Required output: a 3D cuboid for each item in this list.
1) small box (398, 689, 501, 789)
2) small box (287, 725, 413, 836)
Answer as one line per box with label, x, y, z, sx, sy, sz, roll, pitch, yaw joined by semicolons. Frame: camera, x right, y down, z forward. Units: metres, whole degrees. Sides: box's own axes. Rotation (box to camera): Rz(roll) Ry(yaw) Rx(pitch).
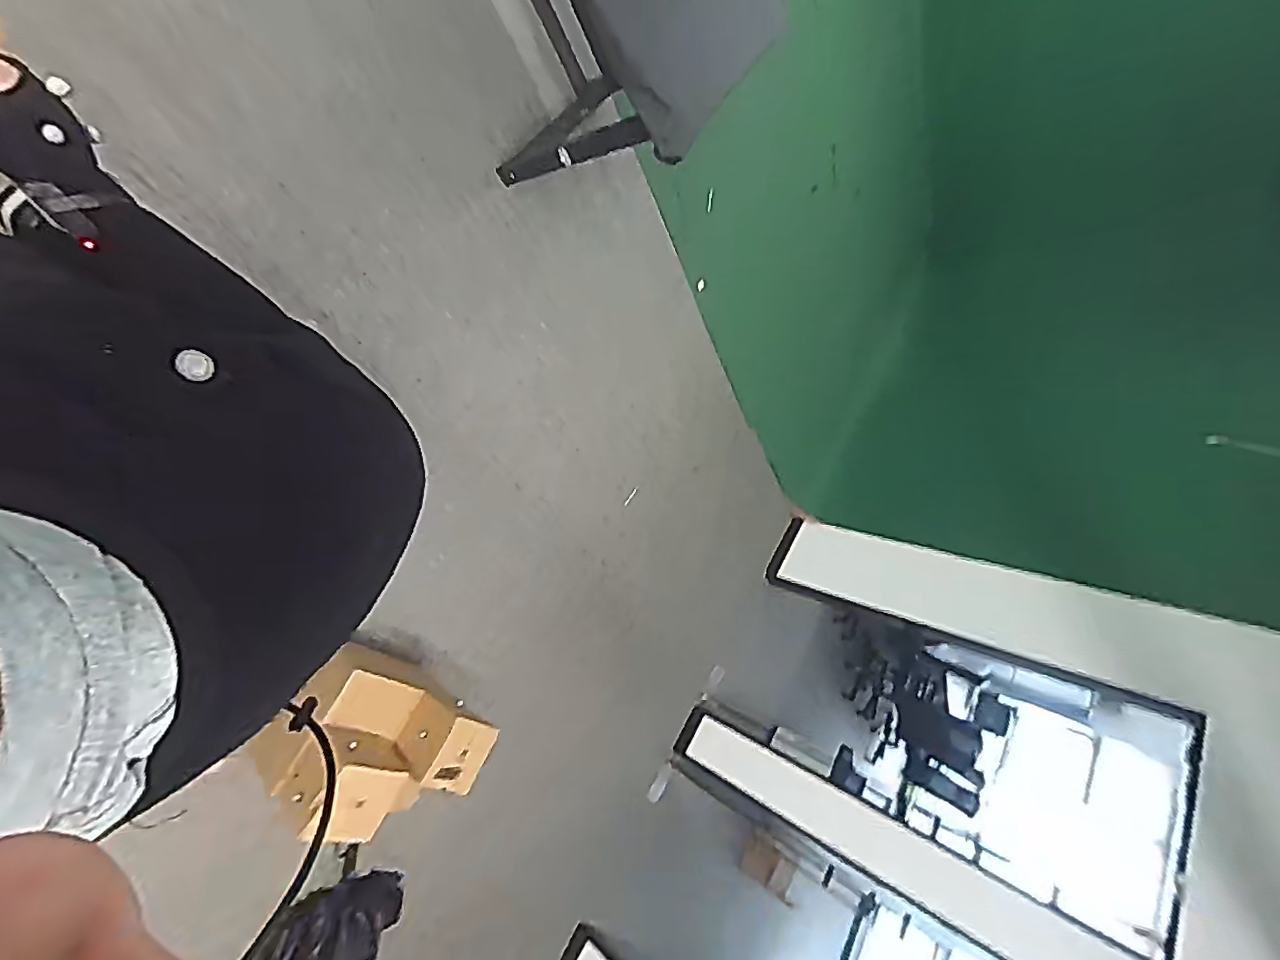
small box;-0.518;0.696;1.458;0.168;0.176;0.179;49;61;-44
small box;-0.685;0.700;1.270;0.179;0.176;0.168;43;71;-47
